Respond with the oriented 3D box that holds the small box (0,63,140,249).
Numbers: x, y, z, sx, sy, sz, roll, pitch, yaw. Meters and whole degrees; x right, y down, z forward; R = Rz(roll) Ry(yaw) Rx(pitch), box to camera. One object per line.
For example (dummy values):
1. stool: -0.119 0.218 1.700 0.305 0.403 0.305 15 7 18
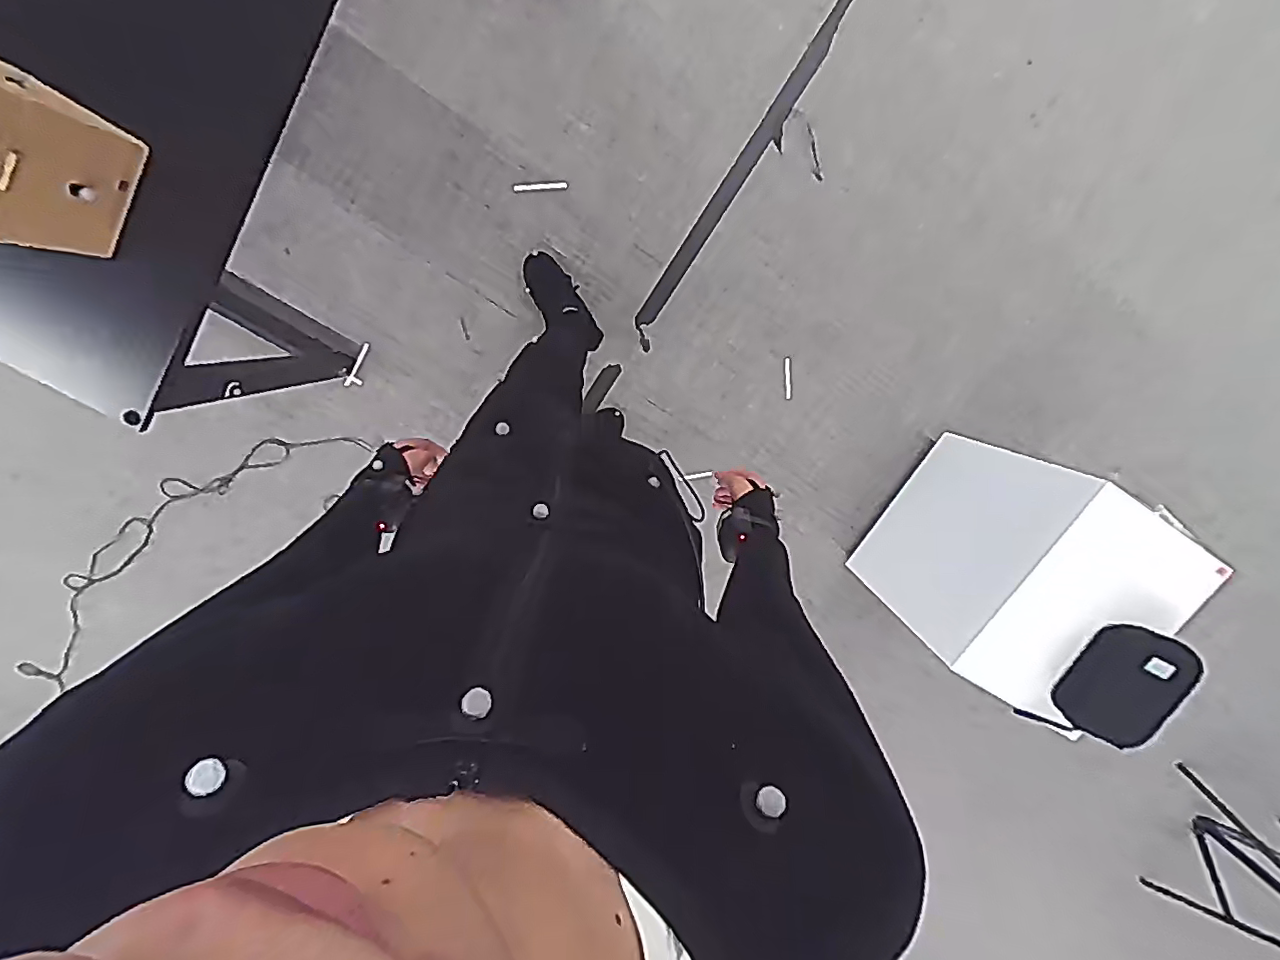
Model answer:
1. small box: -0.761 -0.395 0.638 0.179 0.176 0.168 29 102 -11
